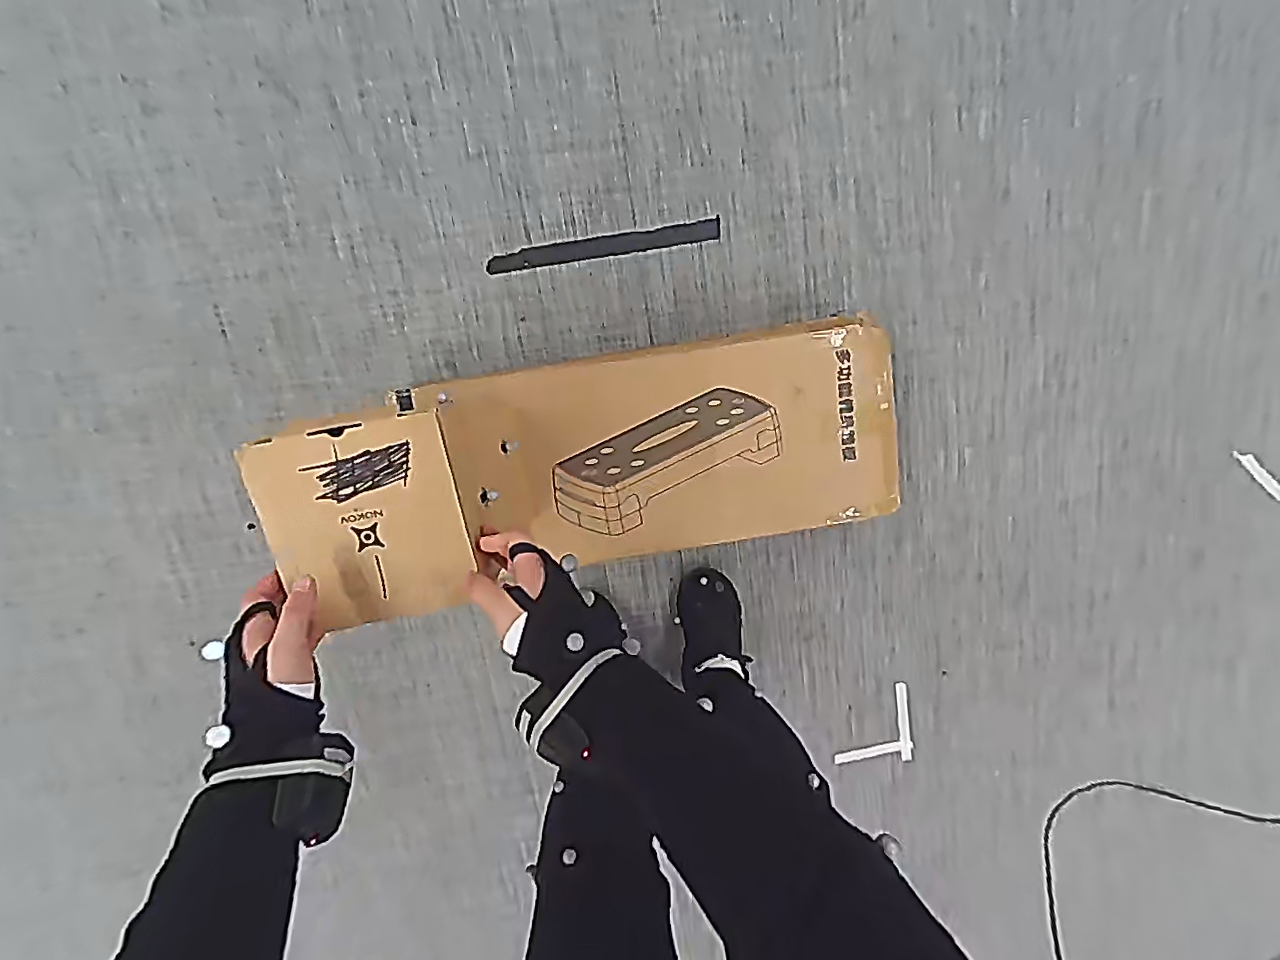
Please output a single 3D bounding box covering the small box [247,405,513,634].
[{"bbox_3d":[-0.235,0.023,0.541,0.168,0.176,0.179,-11,102,-2],"label":"small box"}]
